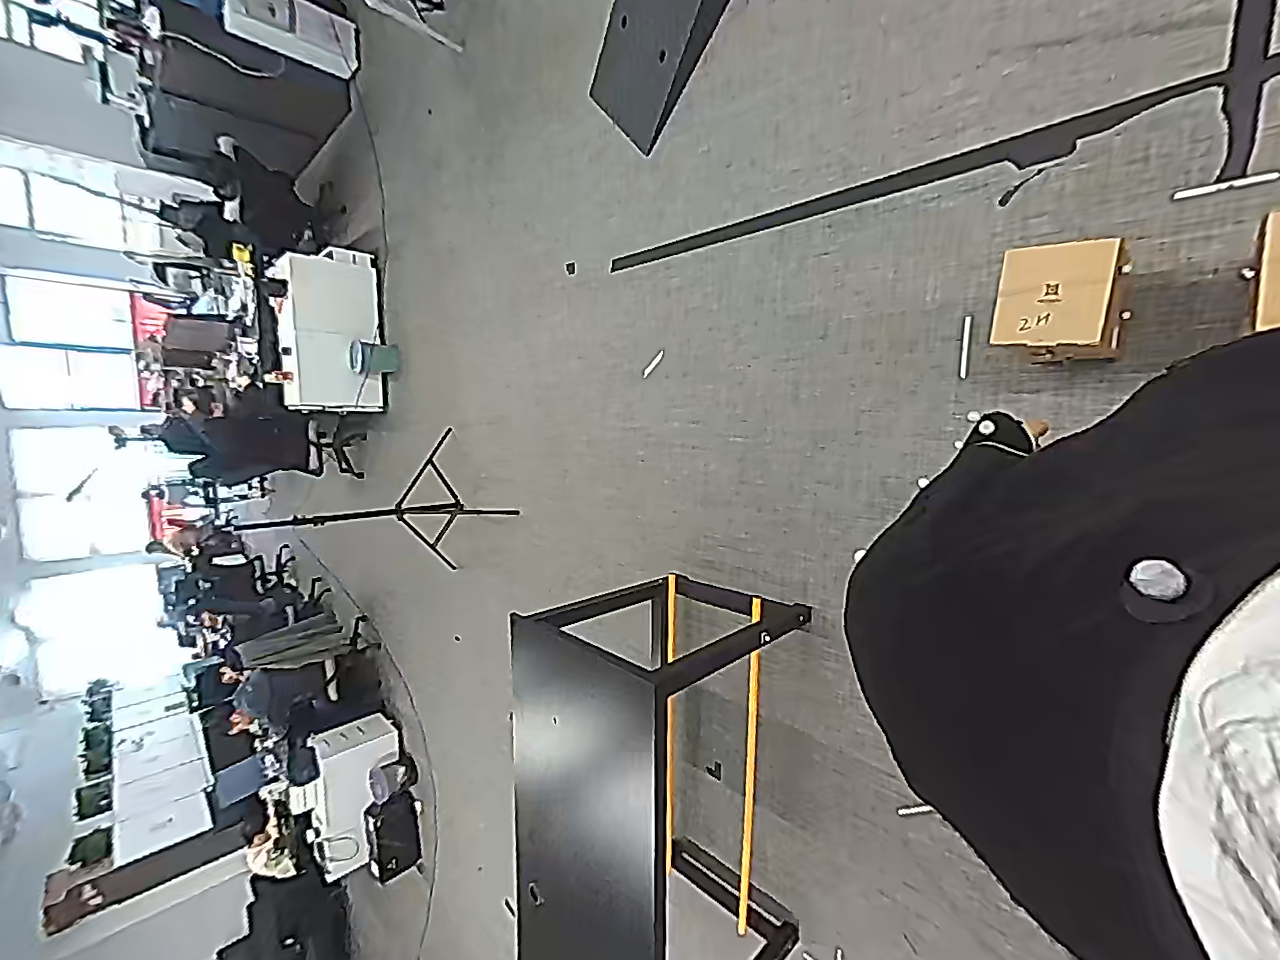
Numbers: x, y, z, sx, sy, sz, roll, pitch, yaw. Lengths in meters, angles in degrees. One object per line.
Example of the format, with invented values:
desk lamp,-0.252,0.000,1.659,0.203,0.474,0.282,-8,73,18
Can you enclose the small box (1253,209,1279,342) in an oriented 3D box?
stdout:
small box,1.023,-0.304,0.783,0.168,0.176,0.179,5,100,47

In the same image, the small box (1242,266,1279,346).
small box,1.142,-0.315,0.893,0.179,0.176,0.168,11,103,44

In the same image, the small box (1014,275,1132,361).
small box,0.906,-0.343,1.129,0.168,0.176,0.179,7,100,45

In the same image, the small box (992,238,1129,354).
small box,0.789,-0.334,1.013,0.168,0.176,0.179,14,105,45
